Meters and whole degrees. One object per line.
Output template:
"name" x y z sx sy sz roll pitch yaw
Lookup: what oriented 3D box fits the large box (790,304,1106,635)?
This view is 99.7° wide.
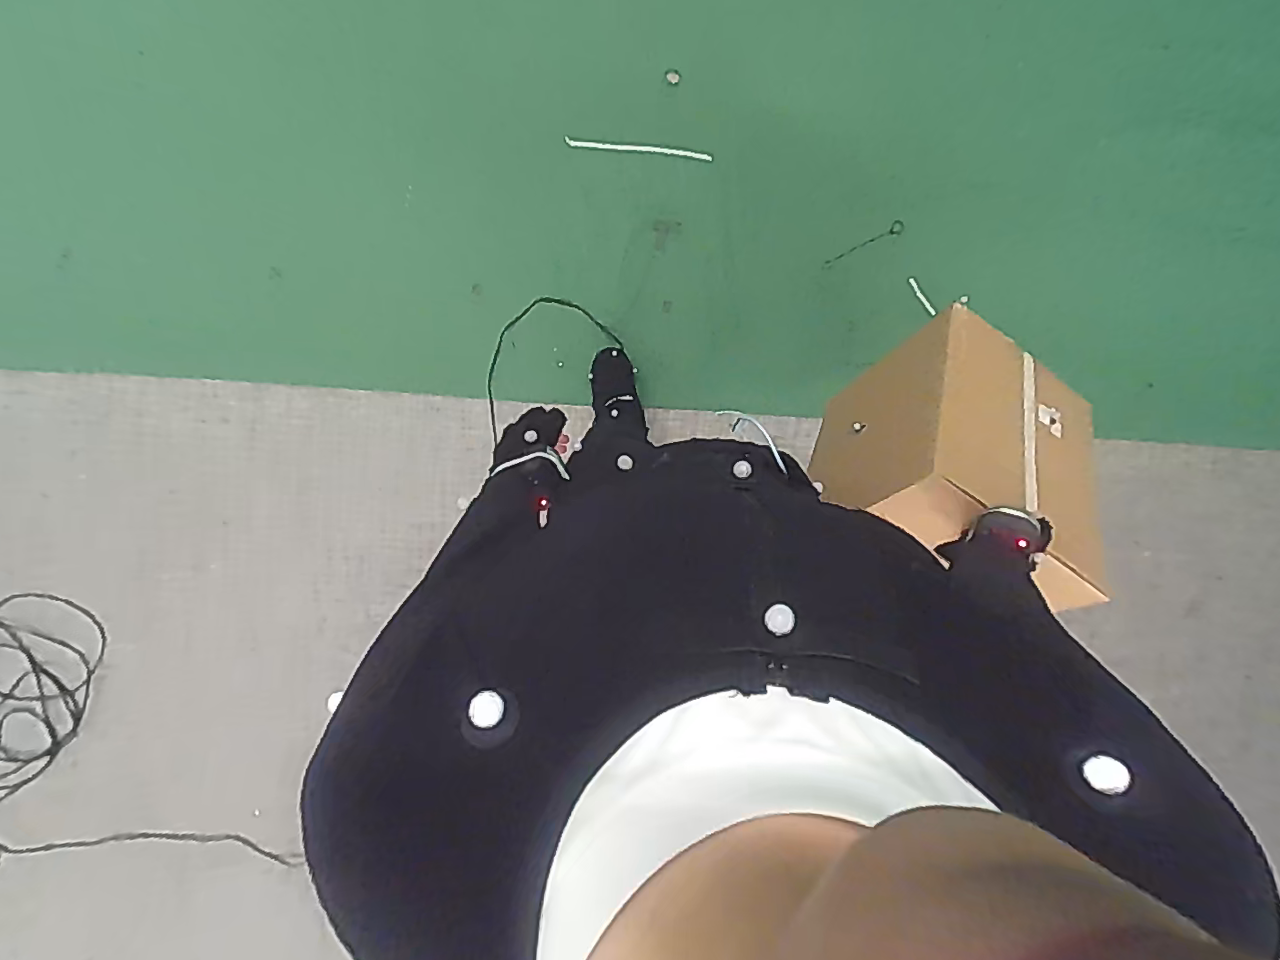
"large box" 0.508 -0.007 0.933 0.320 0.320 0.408 34 54 -8
